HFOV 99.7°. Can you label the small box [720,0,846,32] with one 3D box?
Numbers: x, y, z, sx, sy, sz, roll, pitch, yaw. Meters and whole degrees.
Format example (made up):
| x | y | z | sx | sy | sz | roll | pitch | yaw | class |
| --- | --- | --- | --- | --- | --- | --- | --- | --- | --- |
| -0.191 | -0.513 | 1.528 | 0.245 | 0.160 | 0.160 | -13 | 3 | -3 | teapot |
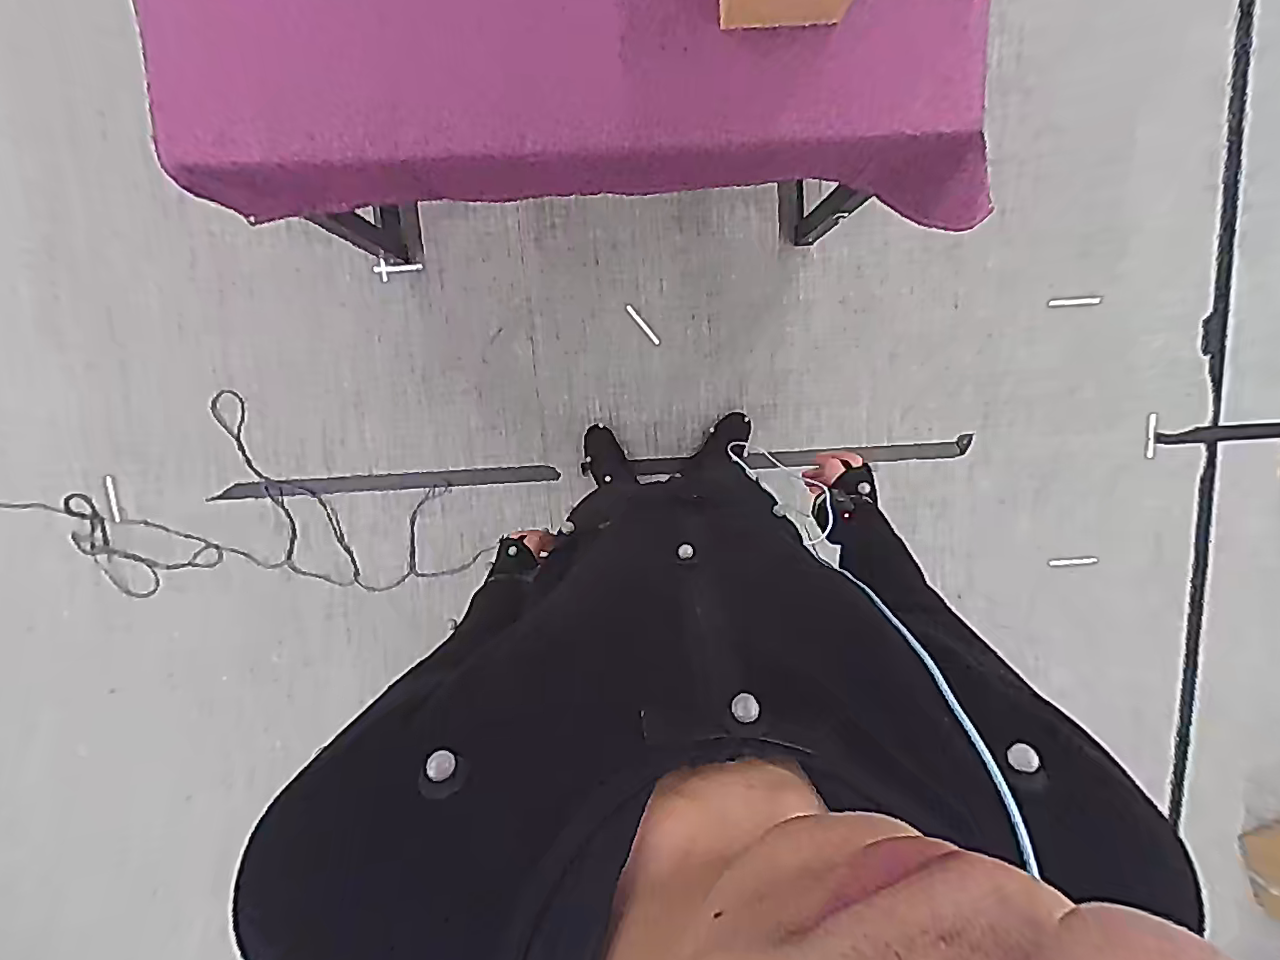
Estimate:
| x | y | z | sx | sy | sz | roll | pitch | yaw | class |
| --- | --- | --- | --- | --- | --- | --- | --- | --- | --- |
| 0.199 | -0.722 | 0.698 | 0.179 | 0.176 | 0.168 | -5 | 99 | -2 | small box |
